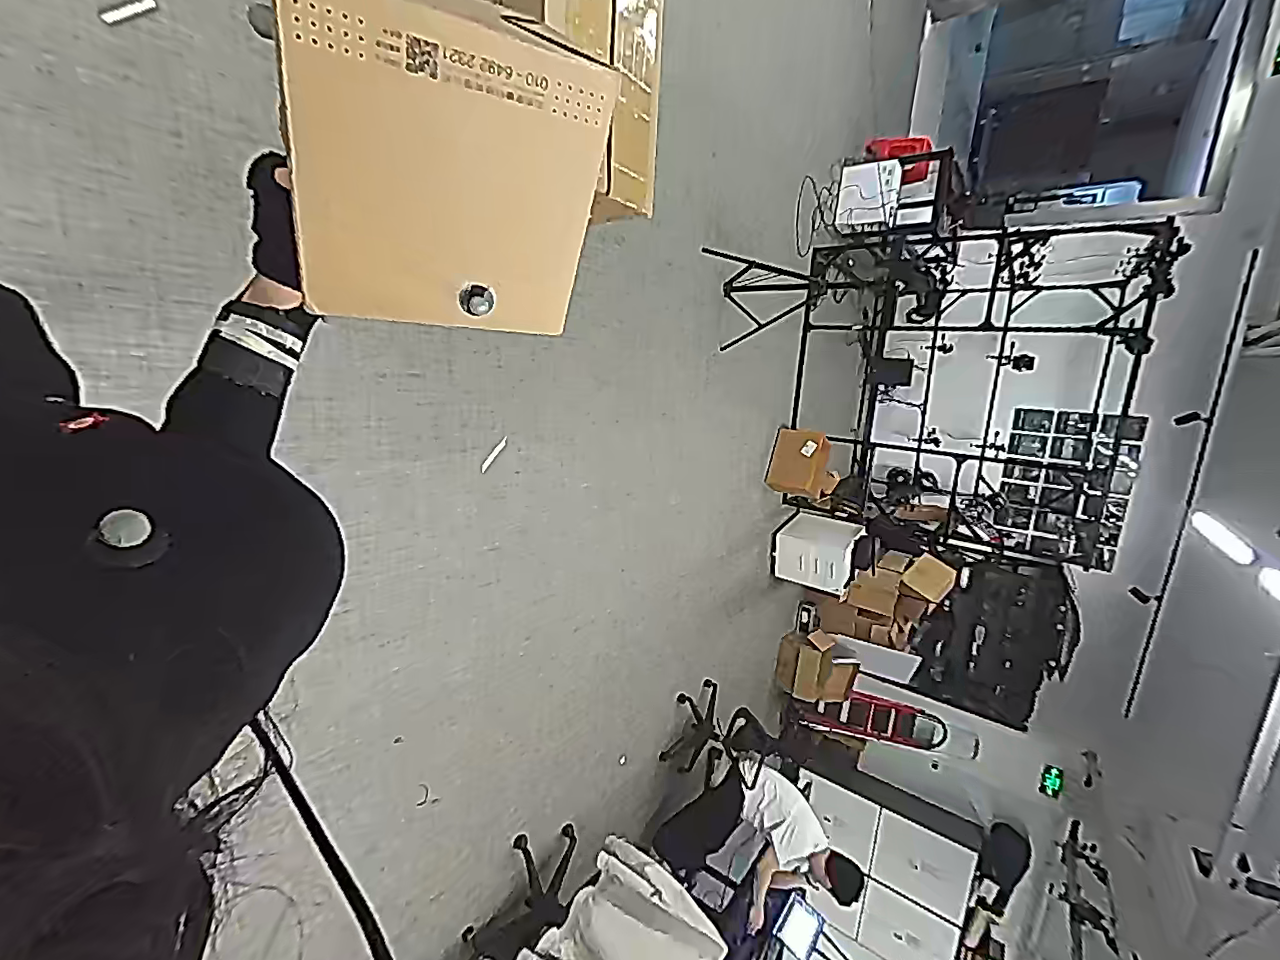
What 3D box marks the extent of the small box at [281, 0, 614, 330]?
[{"bbox_3d":[-0.132,-0.226,0.360,0.168,0.179,0.176,-2,136,-28],"label":"small box"}]
